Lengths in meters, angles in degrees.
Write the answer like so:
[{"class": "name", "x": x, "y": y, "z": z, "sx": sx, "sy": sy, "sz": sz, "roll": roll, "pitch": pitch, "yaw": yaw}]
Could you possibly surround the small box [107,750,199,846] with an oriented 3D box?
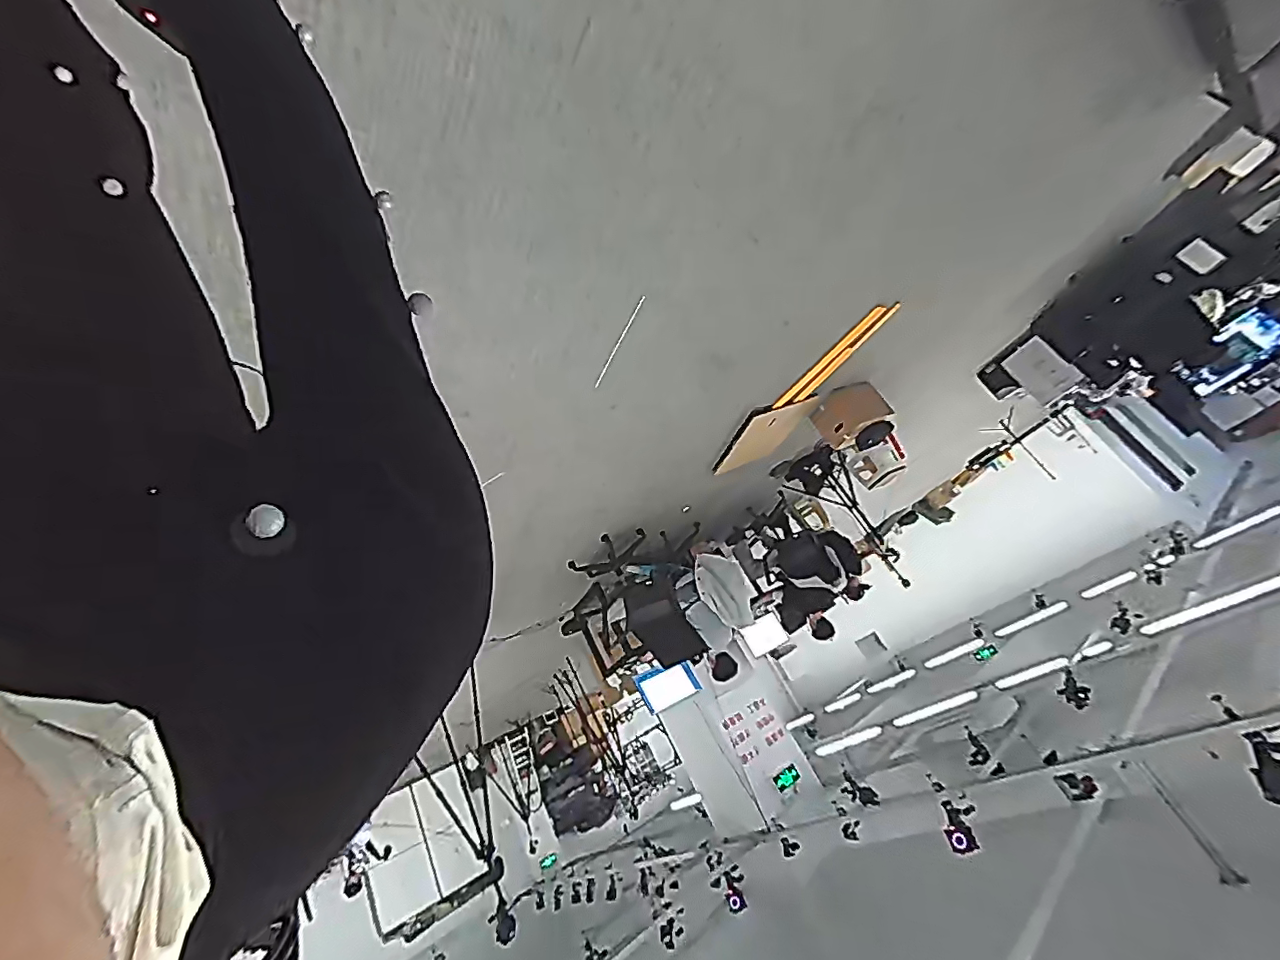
[{"class": "small box", "x": -1.383, "y": 0.898, "z": 1.538, "sx": 0.168, "sy": 0.176, "sz": 0.179, "roll": -12, "pitch": 151, "yaw": -38}]
